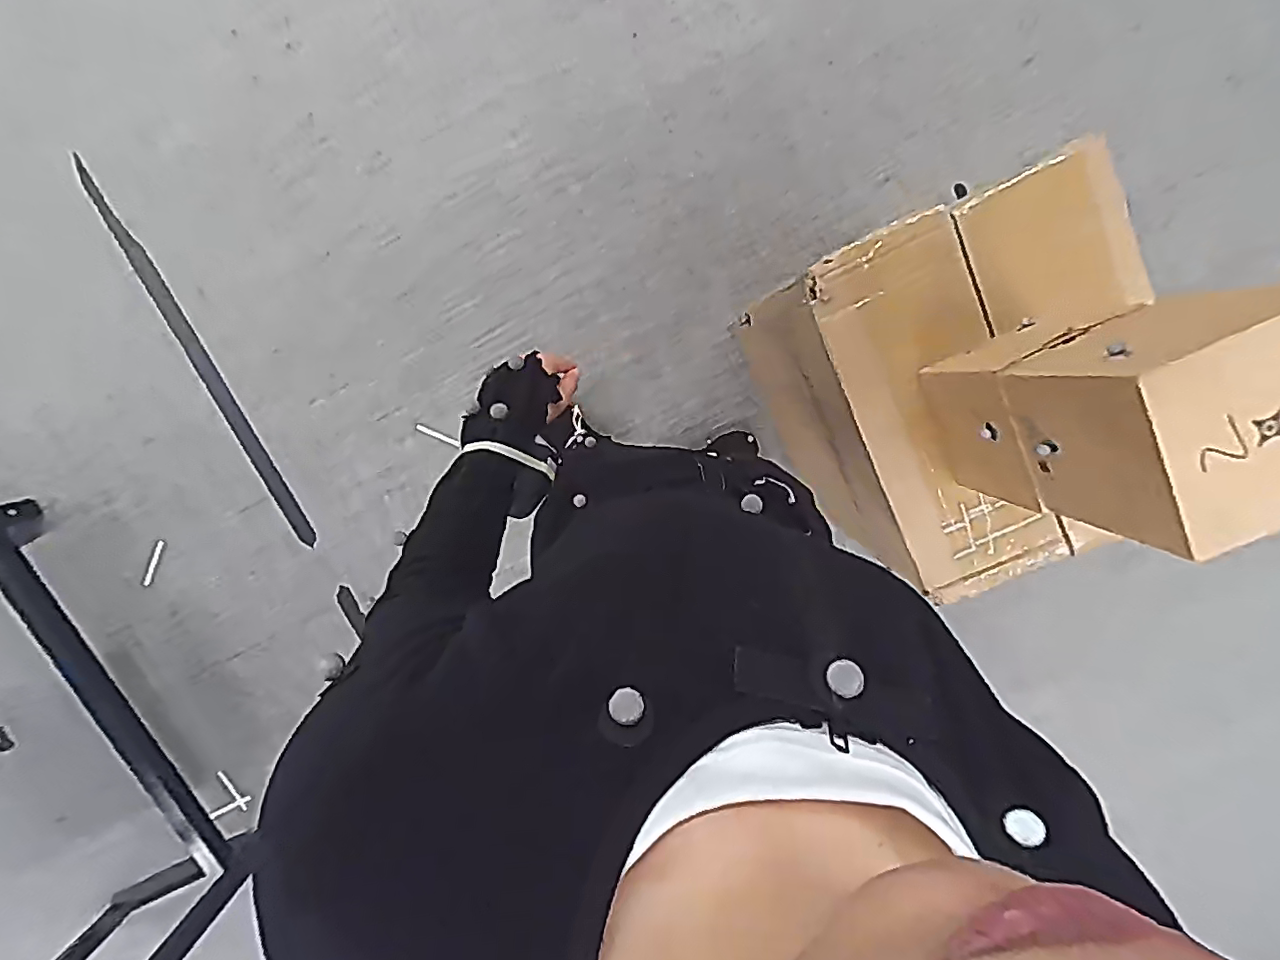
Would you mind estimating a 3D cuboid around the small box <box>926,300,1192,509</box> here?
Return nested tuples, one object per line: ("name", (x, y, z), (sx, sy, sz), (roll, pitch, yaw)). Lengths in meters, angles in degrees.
("small box", (0.480, -0.089, 0.649), (0.168, 0.176, 0.179), (-25, 100, 6))
